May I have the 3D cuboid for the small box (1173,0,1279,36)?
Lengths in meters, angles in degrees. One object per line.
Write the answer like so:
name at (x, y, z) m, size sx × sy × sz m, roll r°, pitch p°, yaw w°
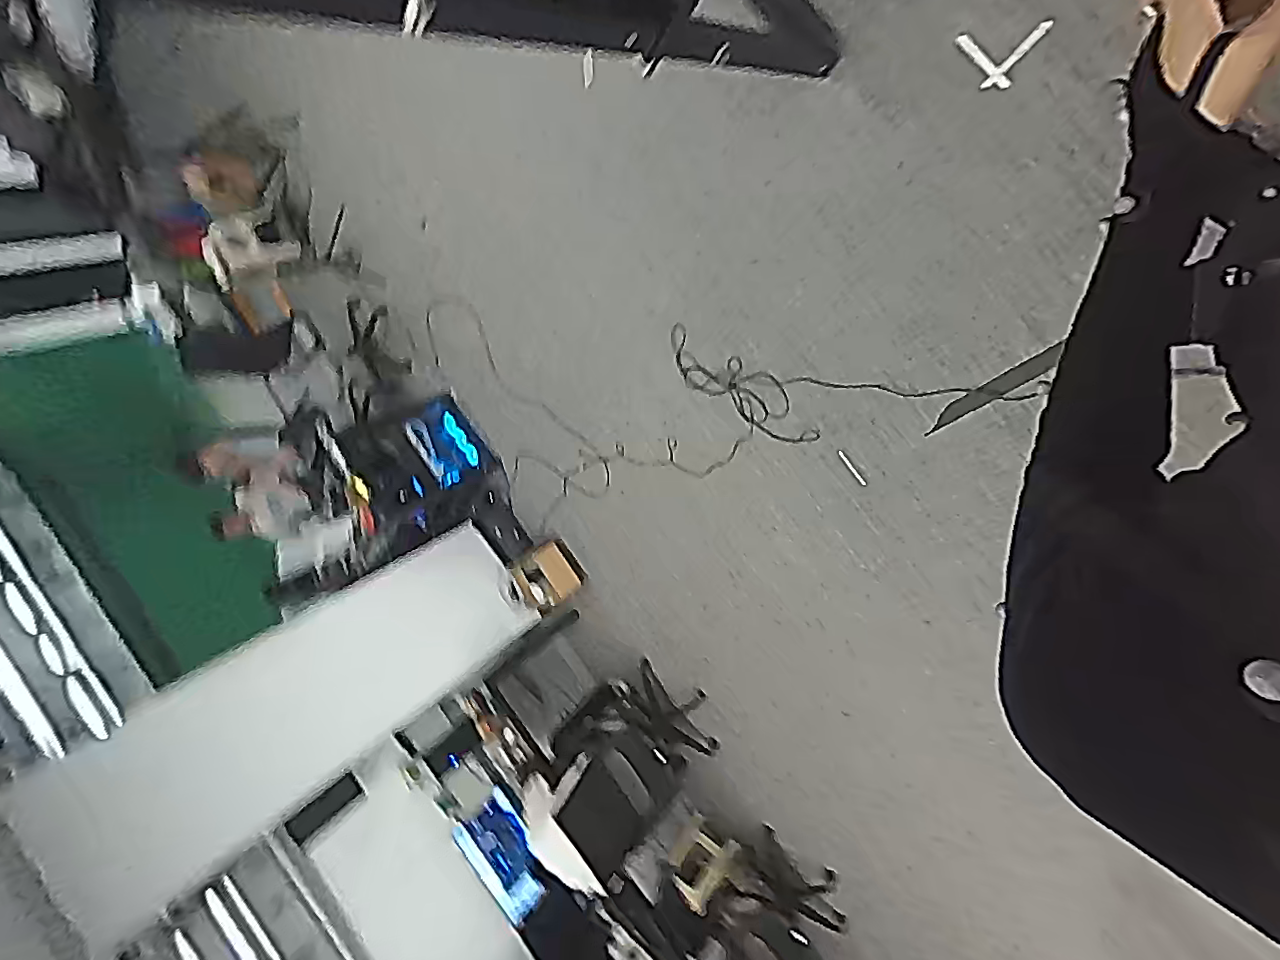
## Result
small box at (0.447, -0.427, 0.339) m, size 0.168 × 0.176 × 0.179 m, roll -15°, pitch 101°, yaw 43°
